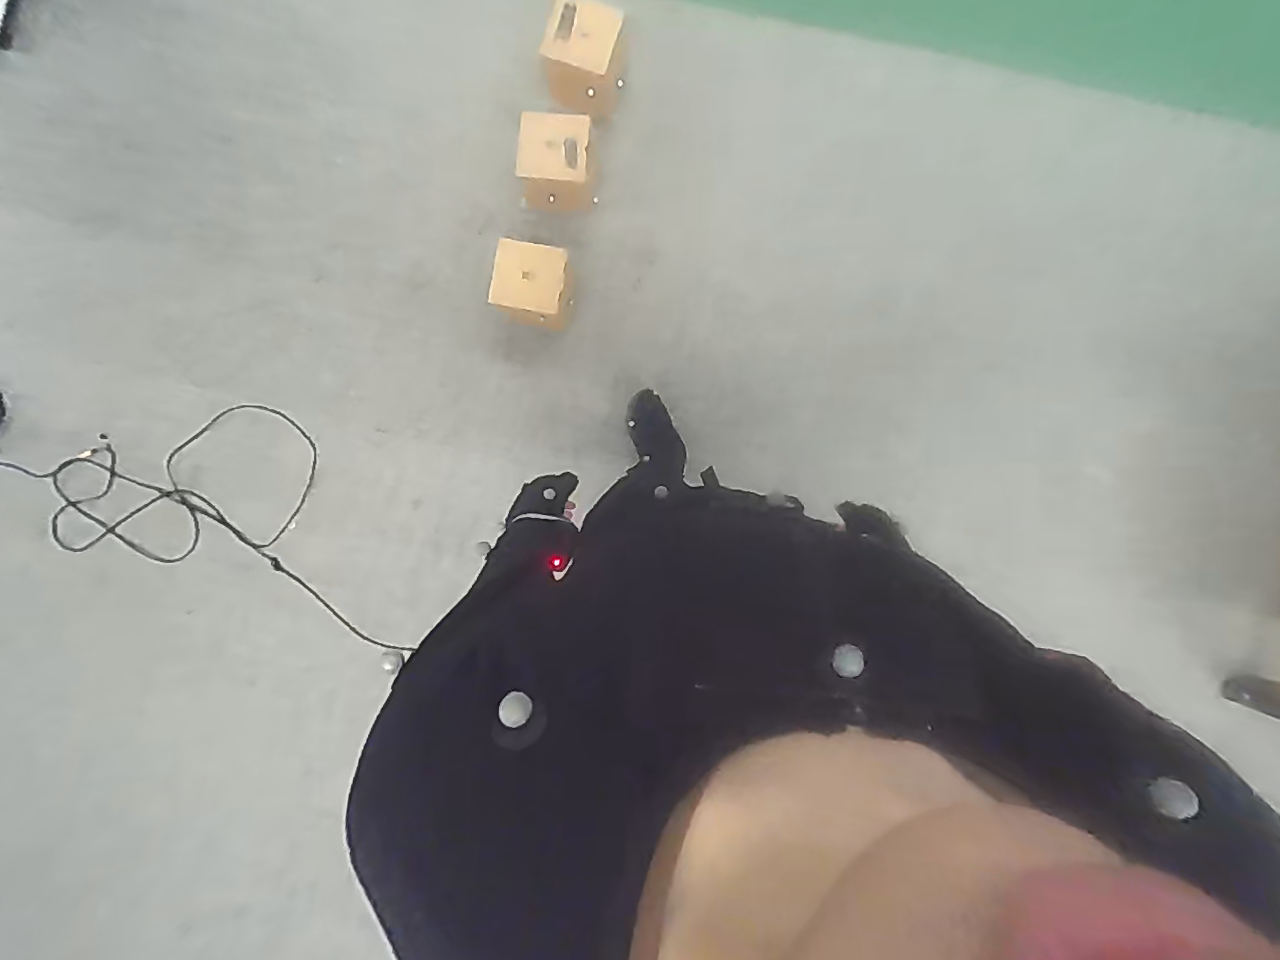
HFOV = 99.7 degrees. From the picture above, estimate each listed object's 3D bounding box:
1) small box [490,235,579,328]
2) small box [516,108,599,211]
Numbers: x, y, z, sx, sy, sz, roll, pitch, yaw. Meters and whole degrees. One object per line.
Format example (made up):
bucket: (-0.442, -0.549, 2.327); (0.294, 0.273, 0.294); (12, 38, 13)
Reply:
small box: (-0.266, -0.505, 1.396); (0.179, 0.176, 0.168); (10, 91, 1)
small box: (-0.204, -0.817, 1.393); (0.179, 0.176, 0.168); (6, 90, 3)
